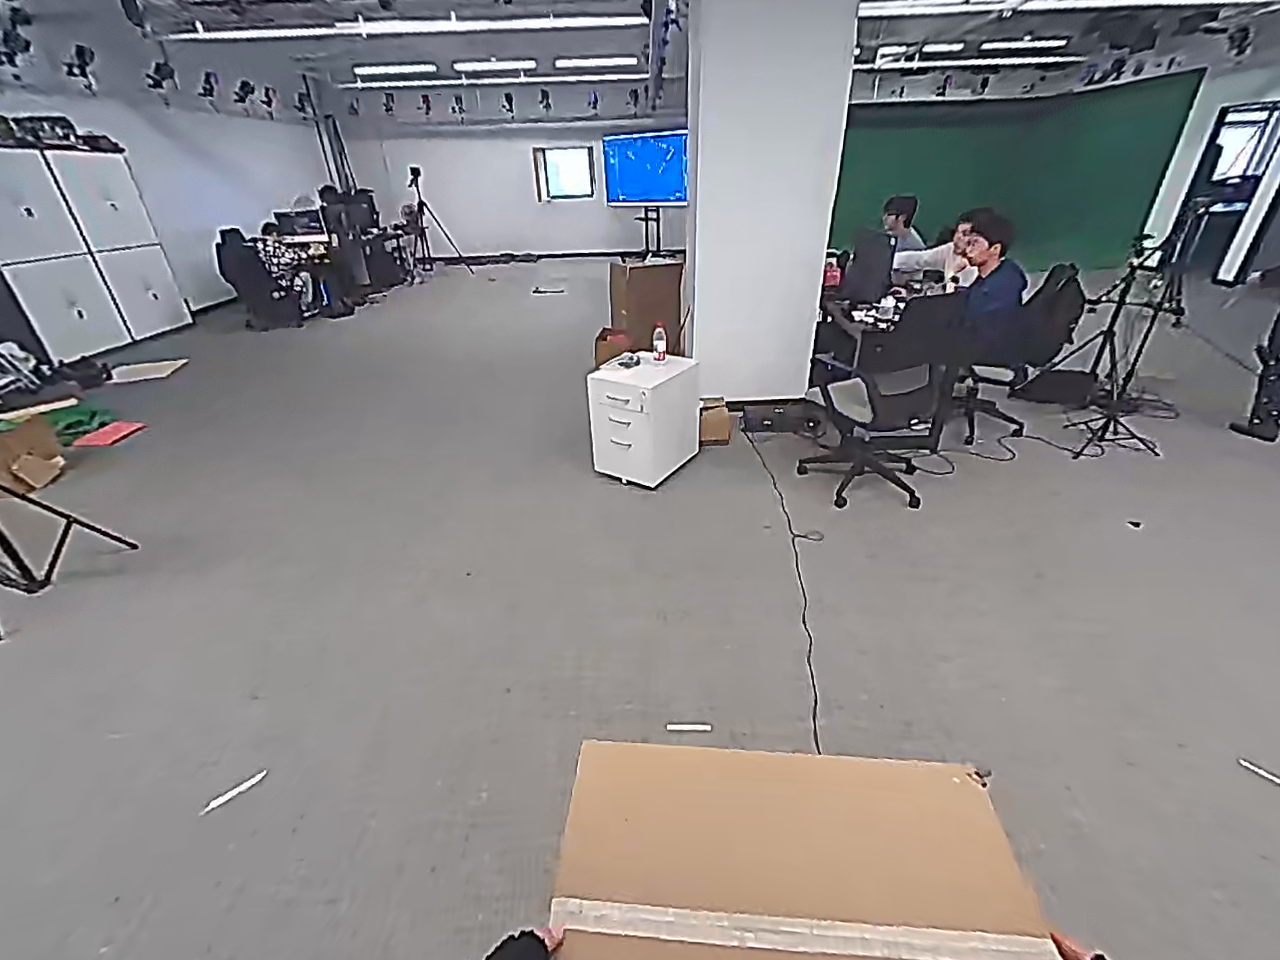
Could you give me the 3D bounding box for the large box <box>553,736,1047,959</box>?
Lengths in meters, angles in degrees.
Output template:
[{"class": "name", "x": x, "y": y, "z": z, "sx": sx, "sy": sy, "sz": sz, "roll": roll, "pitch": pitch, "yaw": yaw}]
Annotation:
[{"class": "large box", "x": 0.131, "y": 0.497, "z": 0.539, "sx": 0.408, "sy": 0.320, "sz": 0.320, "roll": 2, "pitch": 33, "yaw": 5}]
